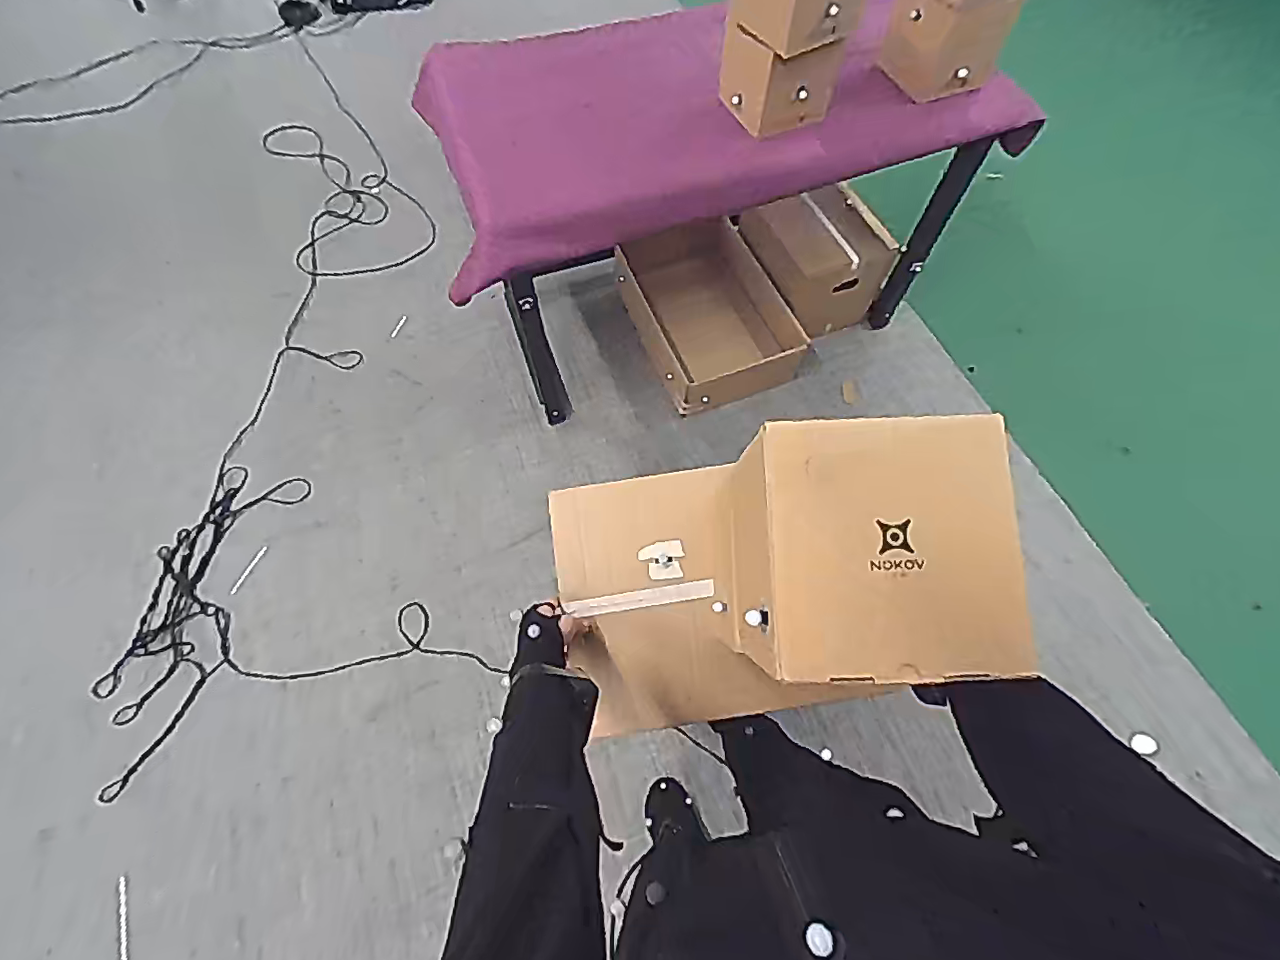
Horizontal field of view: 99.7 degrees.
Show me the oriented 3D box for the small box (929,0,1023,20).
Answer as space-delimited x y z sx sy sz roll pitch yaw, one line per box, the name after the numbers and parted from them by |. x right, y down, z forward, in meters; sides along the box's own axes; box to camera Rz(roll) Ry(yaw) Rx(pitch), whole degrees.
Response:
0.638 -1.005 1.006 0.168 0.176 0.179 -21 65 -8 | small box

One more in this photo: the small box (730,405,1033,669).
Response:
0.170 0.049 0.440 0.168 0.176 0.179 -2 80 1 | small box

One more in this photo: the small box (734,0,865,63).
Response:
0.284 -0.878 0.946 0.168 0.176 0.179 -28 67 -12 | small box

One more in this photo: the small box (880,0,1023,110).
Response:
0.647 -0.933 1.152 0.168 0.176 0.179 -19 65 -7 | small box

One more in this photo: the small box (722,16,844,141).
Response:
0.283 -0.826 1.105 0.168 0.176 0.179 -22 65 -10 | small box
